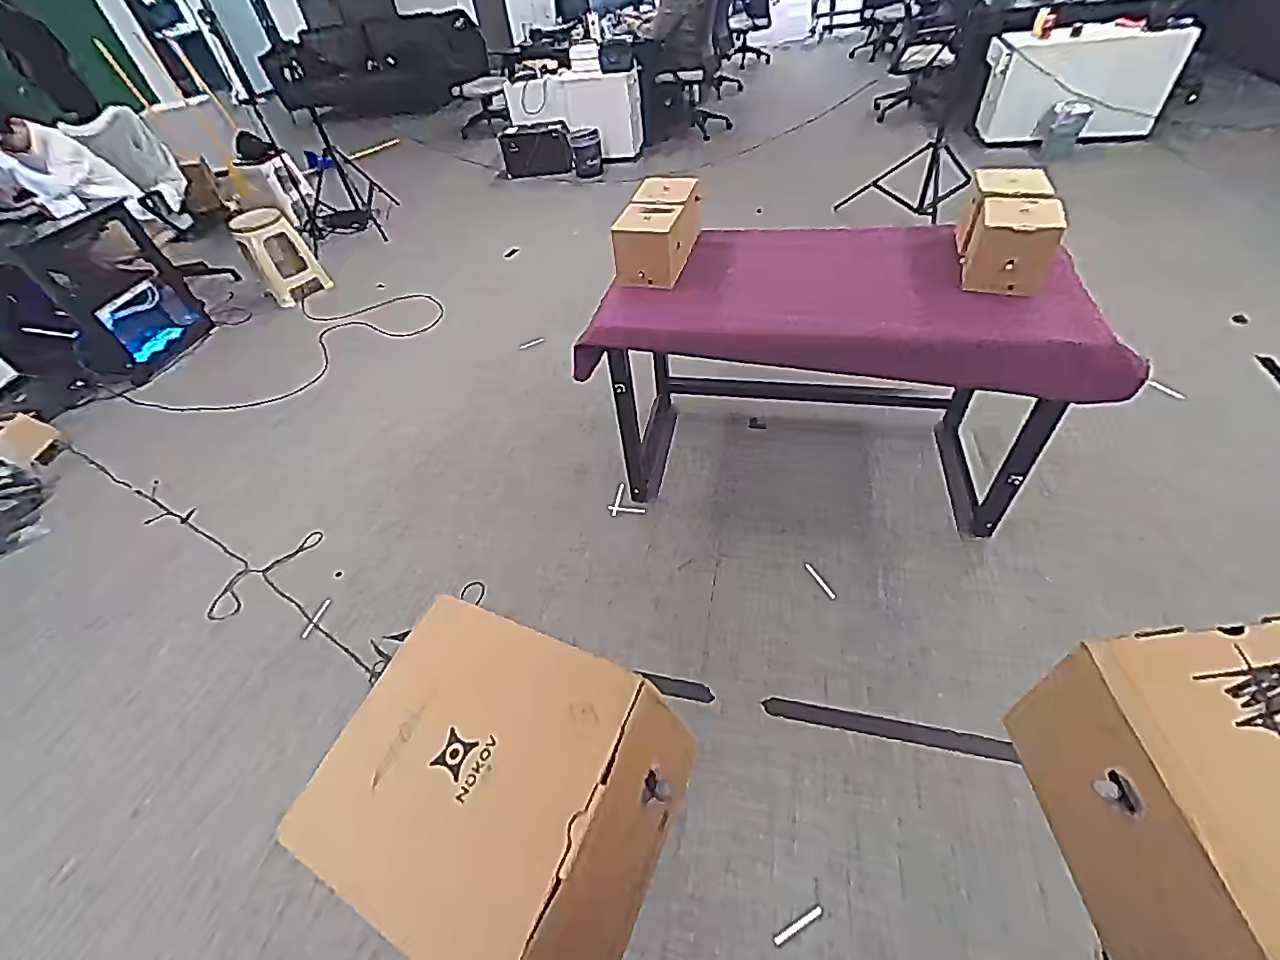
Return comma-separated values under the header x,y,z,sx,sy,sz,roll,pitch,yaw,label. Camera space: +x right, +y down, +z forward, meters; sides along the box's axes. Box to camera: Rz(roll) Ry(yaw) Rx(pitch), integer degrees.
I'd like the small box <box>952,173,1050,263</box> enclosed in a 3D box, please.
x,y,z,sx,sy,sz,roll,pitch,yaw,label
0.971,-0.715,1.472,0.168,0.176,0.179,9,48,15,small box

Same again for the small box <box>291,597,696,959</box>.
x,y,z,sx,sy,sz,roll,pitch,yaw,label
-0.077,0.211,0.376,0.179,0.176,0.168,12,57,28,small box

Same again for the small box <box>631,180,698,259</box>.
x,y,z,sx,sy,sz,roll,pitch,yaw,label
0.080,-0.808,1.676,0.168,0.176,0.179,9,50,16,small box

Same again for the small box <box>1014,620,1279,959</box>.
x,y,z,sx,sy,sz,roll,pitch,yaw,label
0.374,0.205,0.331,0.168,0.176,0.179,-10,50,7,small box
